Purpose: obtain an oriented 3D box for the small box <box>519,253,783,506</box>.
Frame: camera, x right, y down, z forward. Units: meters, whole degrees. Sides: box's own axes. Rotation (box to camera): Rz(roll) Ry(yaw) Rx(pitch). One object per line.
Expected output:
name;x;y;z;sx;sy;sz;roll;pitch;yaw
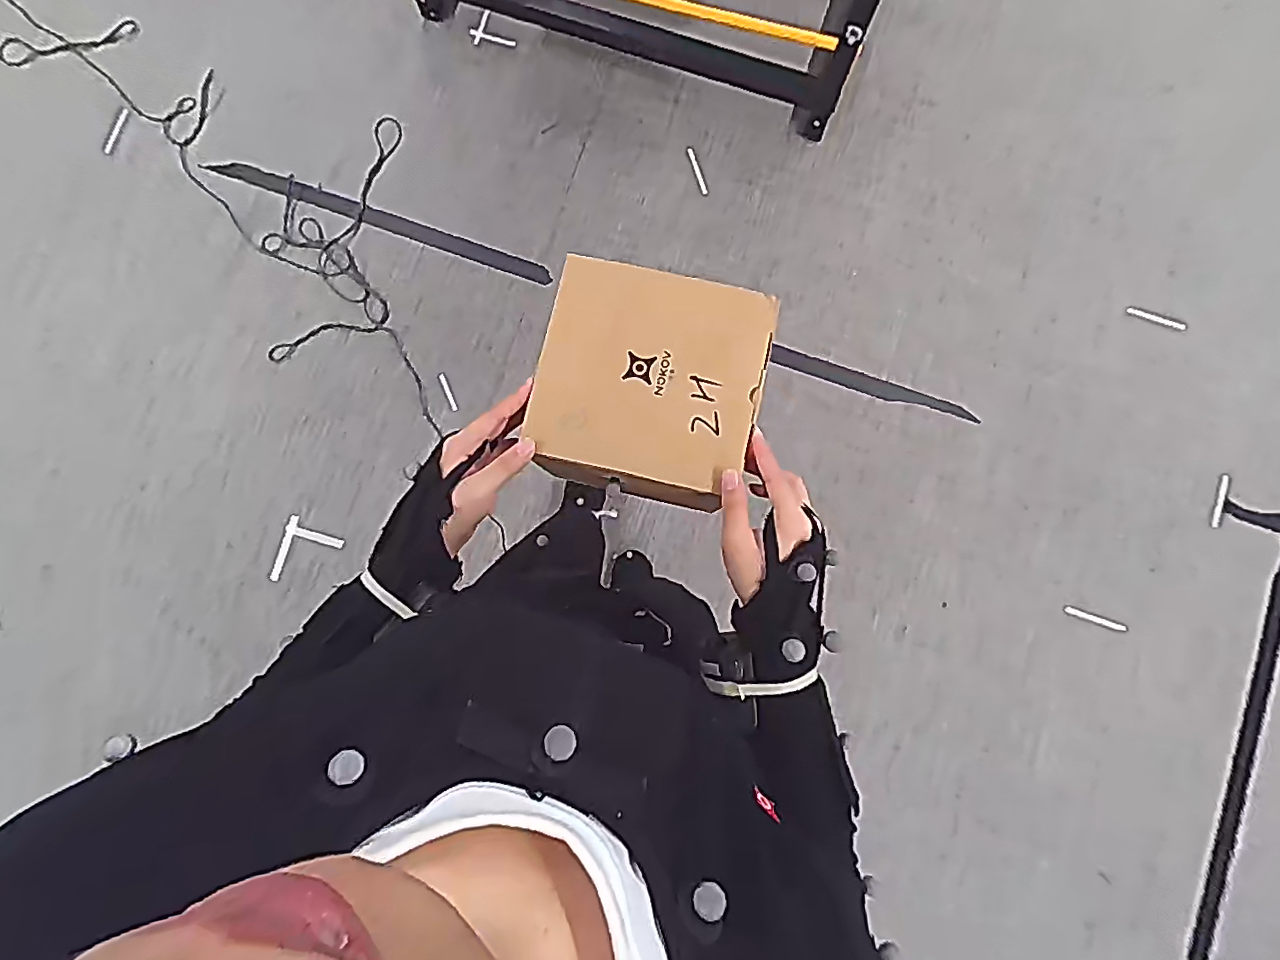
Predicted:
small box;0.011;-0.075;0.496;0.179;0.176;0.168;13;84;2
